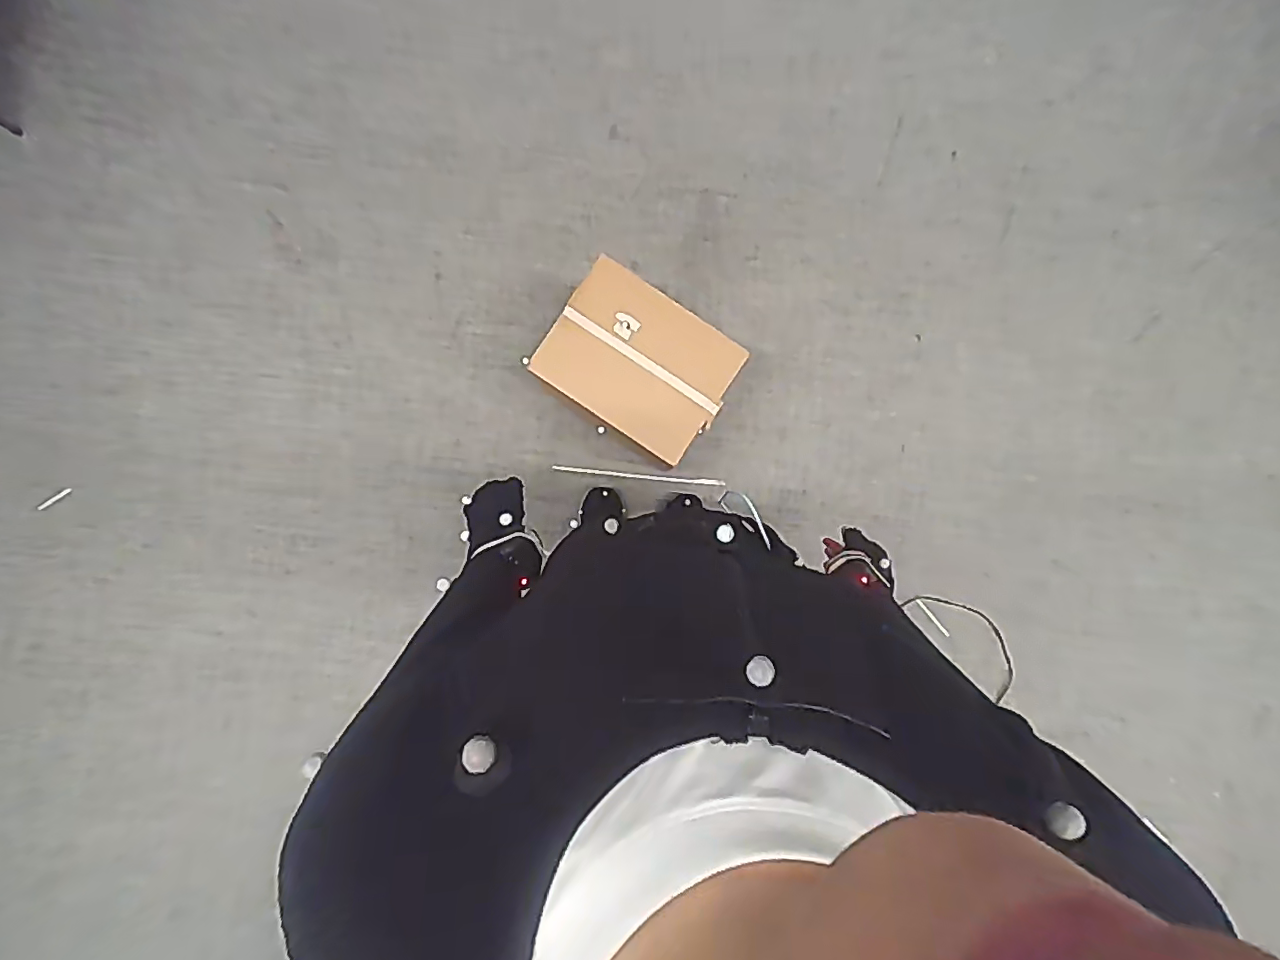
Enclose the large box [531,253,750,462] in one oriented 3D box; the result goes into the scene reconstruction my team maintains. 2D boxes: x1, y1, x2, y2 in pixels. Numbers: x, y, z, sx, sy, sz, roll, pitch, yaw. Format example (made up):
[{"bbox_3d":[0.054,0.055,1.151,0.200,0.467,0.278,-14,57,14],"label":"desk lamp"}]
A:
[{"bbox_3d":[0.002,-0.277,1.358,0.408,0.320,0.320,34,88,0],"label":"large box"}]
